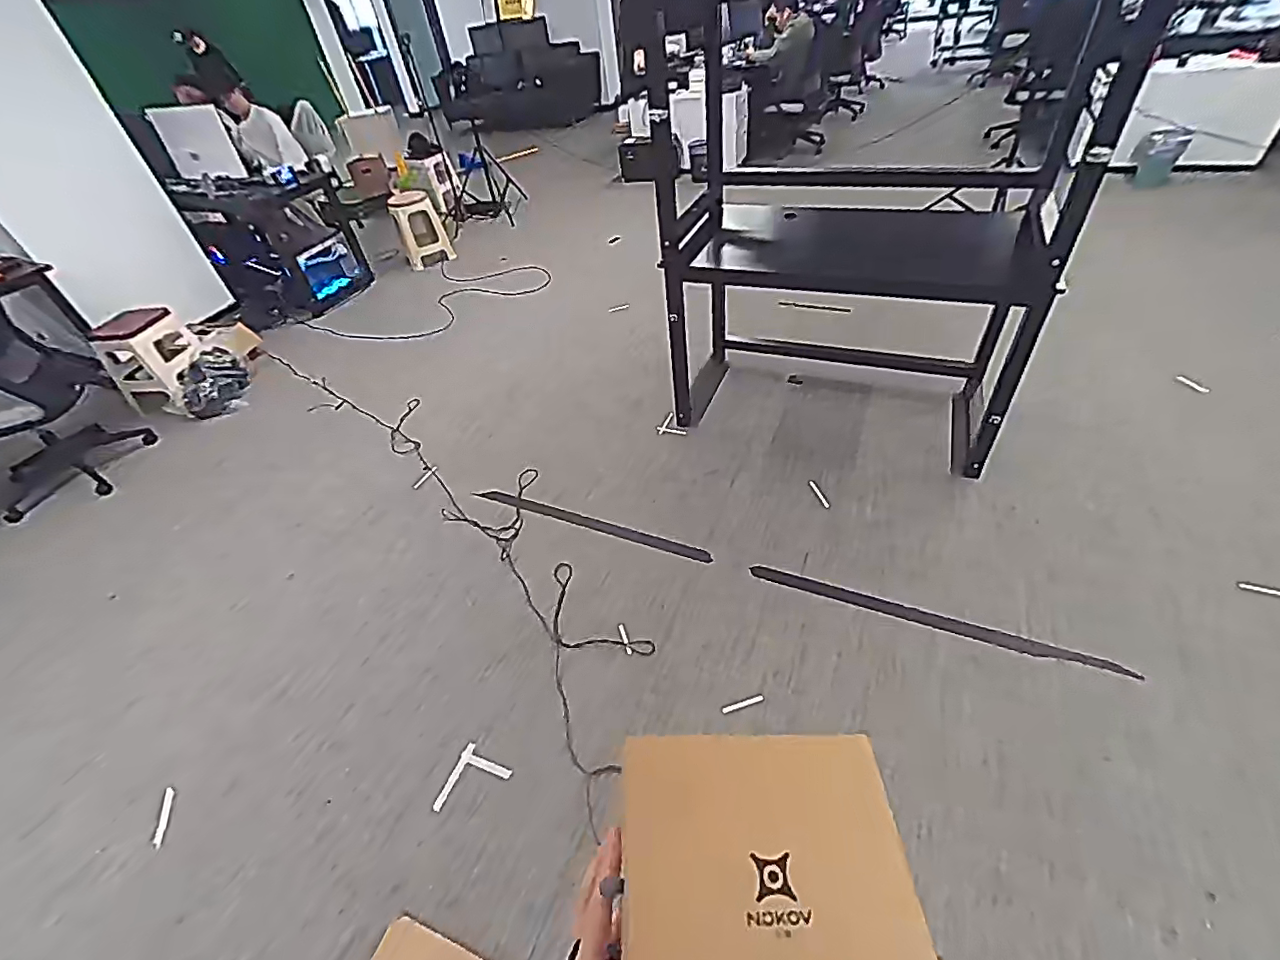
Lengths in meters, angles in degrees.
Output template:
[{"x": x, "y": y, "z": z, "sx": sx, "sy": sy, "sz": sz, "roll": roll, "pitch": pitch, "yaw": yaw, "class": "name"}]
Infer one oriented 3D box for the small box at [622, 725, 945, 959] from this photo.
[{"x": 0.073, "y": 0.283, "z": 0.357, "sx": 0.168, "sy": 0.176, "sz": 0.179, "roll": 1, "pitch": 45, "yaw": -3, "class": "small box"}]
